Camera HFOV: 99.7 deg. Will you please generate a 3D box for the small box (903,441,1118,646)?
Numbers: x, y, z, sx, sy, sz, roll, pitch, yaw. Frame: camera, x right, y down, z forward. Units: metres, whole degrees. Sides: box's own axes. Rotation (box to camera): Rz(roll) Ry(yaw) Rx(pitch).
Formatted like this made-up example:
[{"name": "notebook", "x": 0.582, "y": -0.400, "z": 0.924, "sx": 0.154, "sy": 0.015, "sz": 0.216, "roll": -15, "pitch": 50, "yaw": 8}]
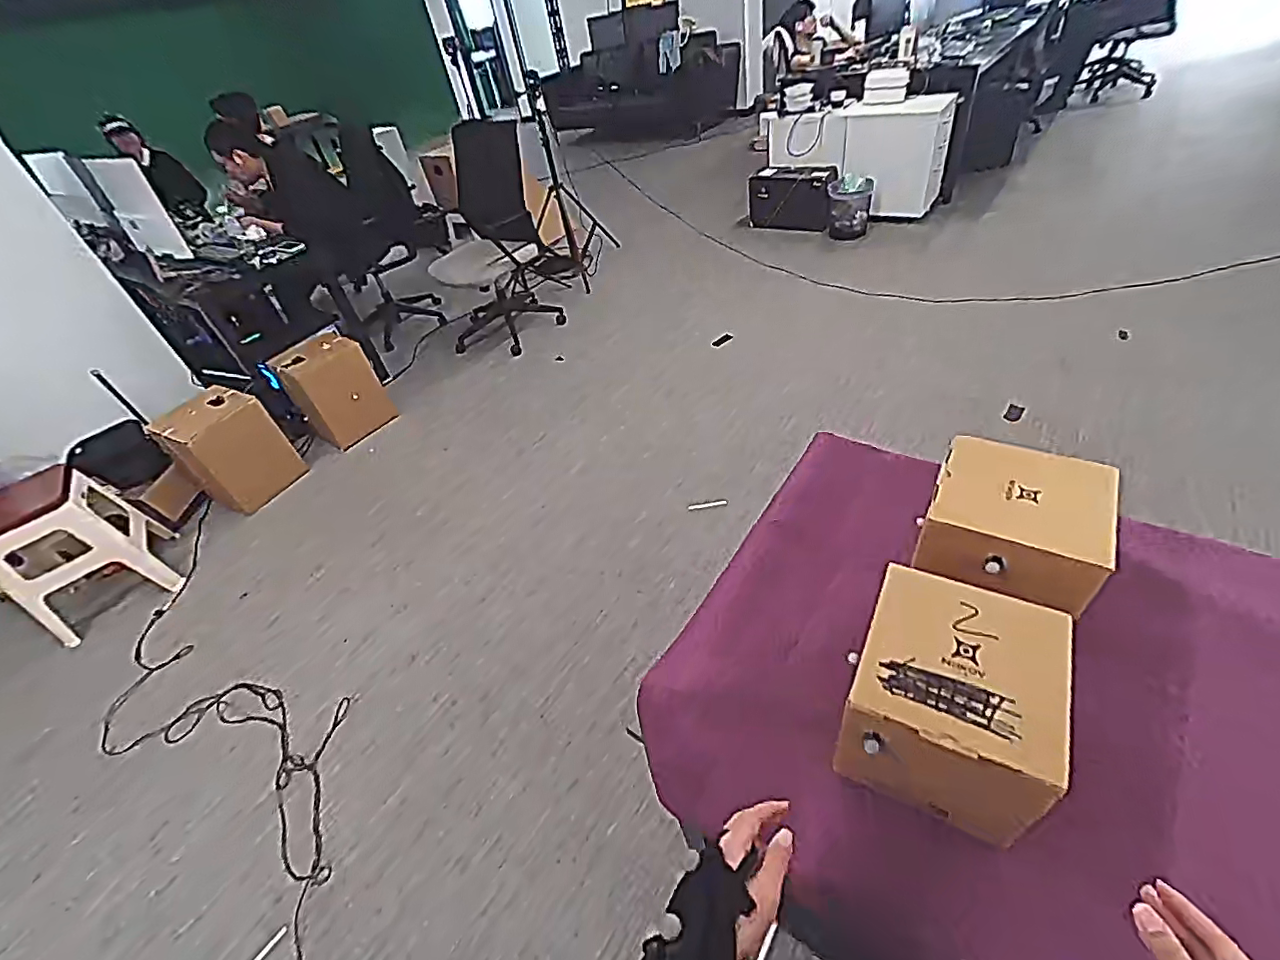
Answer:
[{"name": "small box", "x": 0.457, "y": 0.082, "z": 0.684, "sx": 0.179, "sy": 0.176, "sz": 0.168, "roll": 18, "pitch": 50, "yaw": 29}]
